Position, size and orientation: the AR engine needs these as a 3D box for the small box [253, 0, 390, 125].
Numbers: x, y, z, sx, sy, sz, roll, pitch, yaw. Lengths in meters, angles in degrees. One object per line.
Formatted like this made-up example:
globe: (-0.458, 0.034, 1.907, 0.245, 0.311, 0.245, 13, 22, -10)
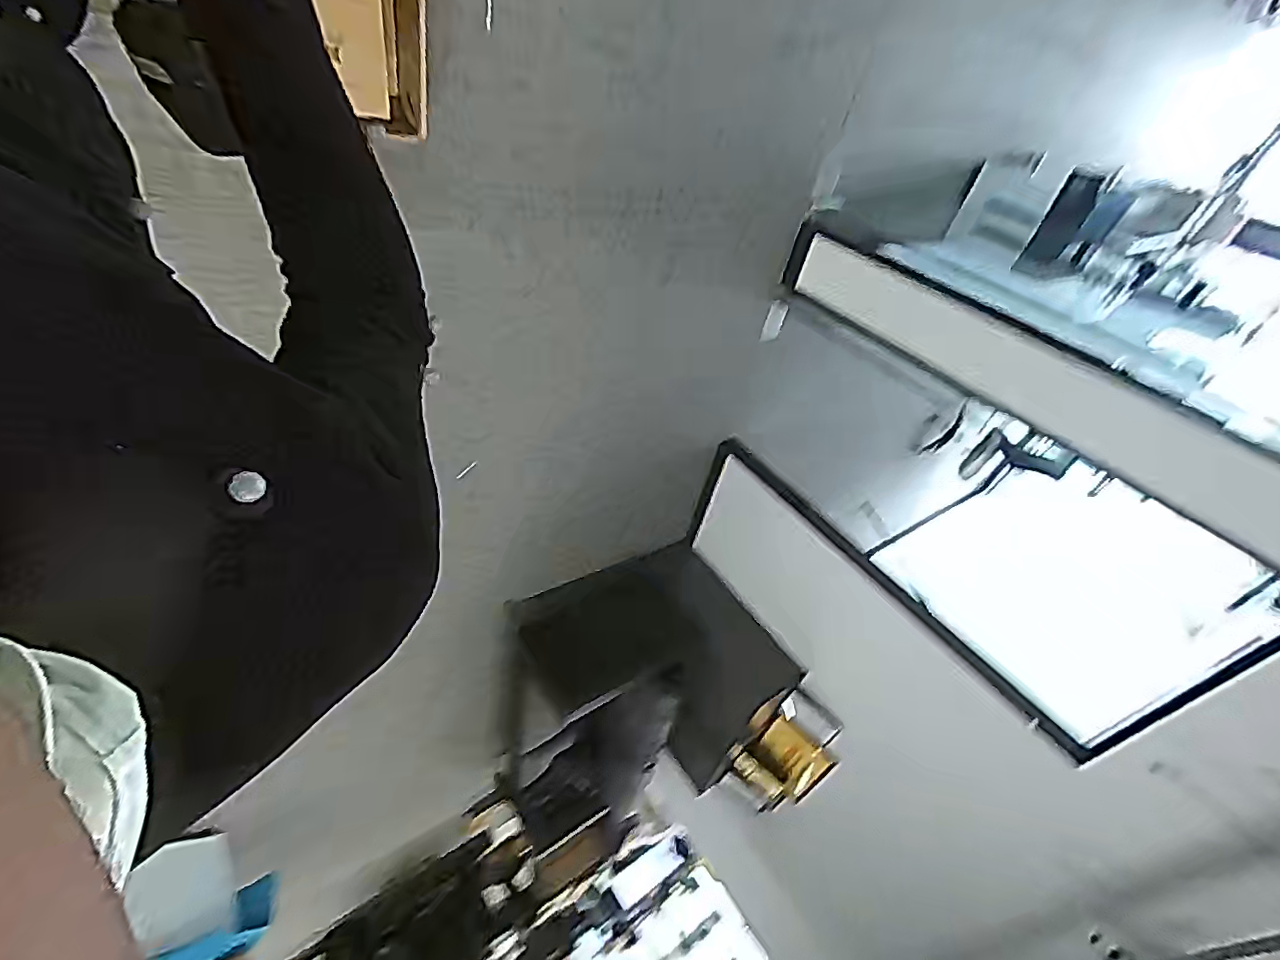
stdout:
small box: (-0.541, -0.734, 0.919, 0.168, 0.176, 0.179, -15, 138, -33)
